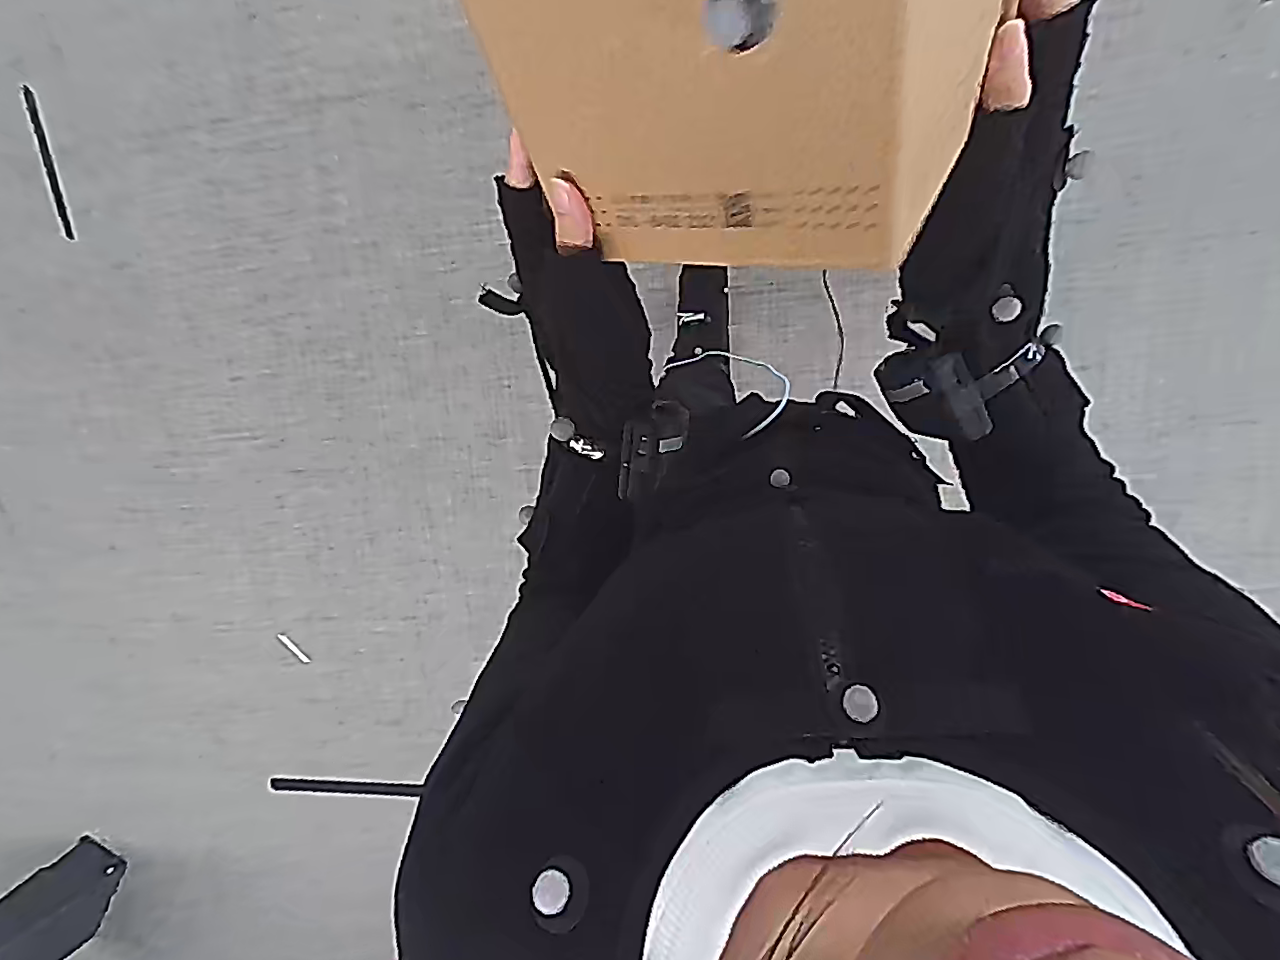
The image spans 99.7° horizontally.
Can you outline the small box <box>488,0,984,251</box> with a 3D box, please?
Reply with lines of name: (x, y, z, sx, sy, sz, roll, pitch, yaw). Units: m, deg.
small box: (0.051, -0.221, 0.241, 0.168, 0.179, 0.176, 15, 148, 31)
